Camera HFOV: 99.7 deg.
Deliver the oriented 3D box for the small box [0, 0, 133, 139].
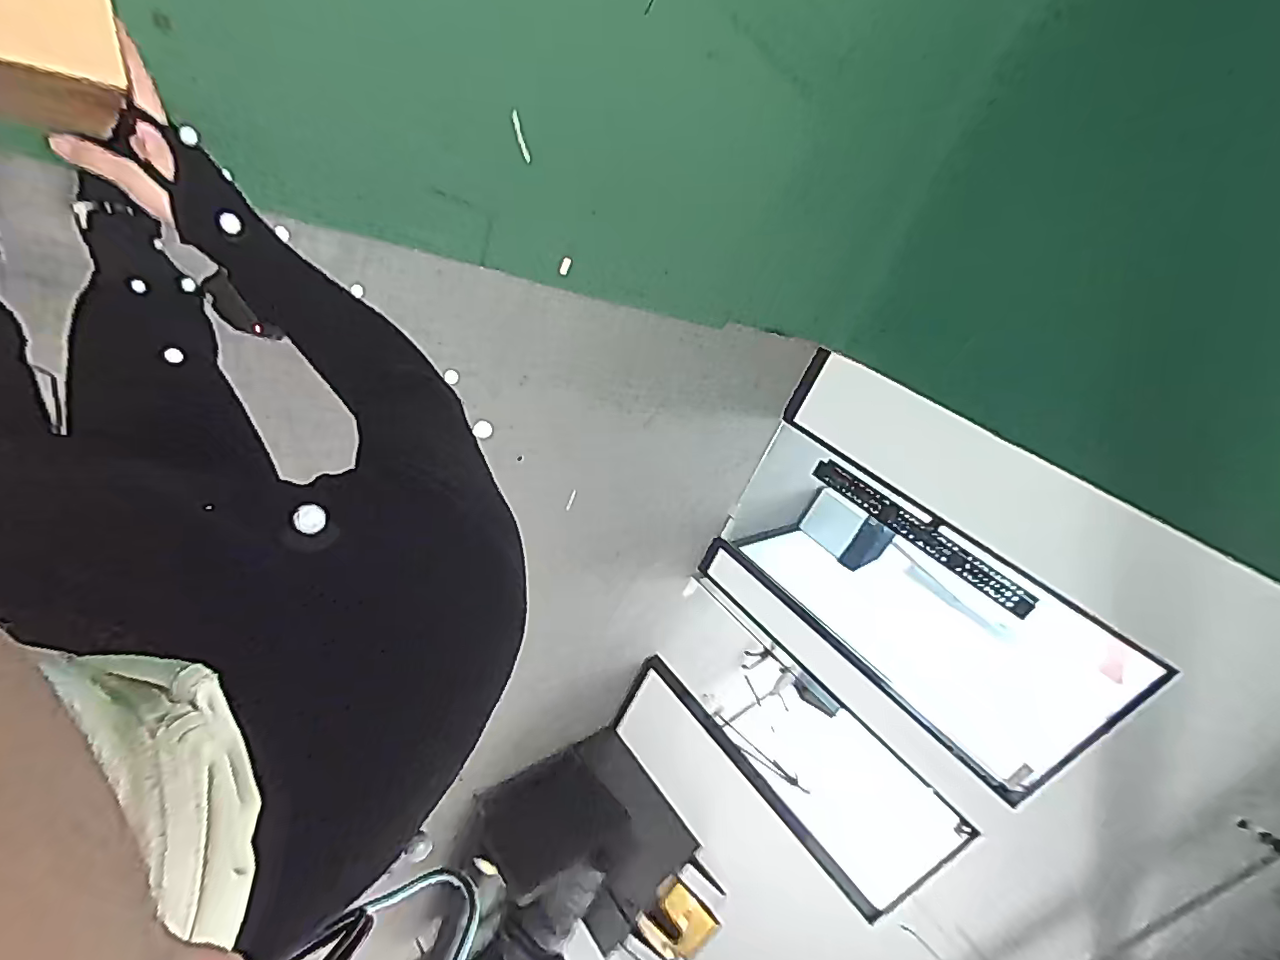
[{"bbox_3d":[-0.528,-0.385,0.412,0.179,0.176,0.168,-15,110,-43],"label":"small box"}]
